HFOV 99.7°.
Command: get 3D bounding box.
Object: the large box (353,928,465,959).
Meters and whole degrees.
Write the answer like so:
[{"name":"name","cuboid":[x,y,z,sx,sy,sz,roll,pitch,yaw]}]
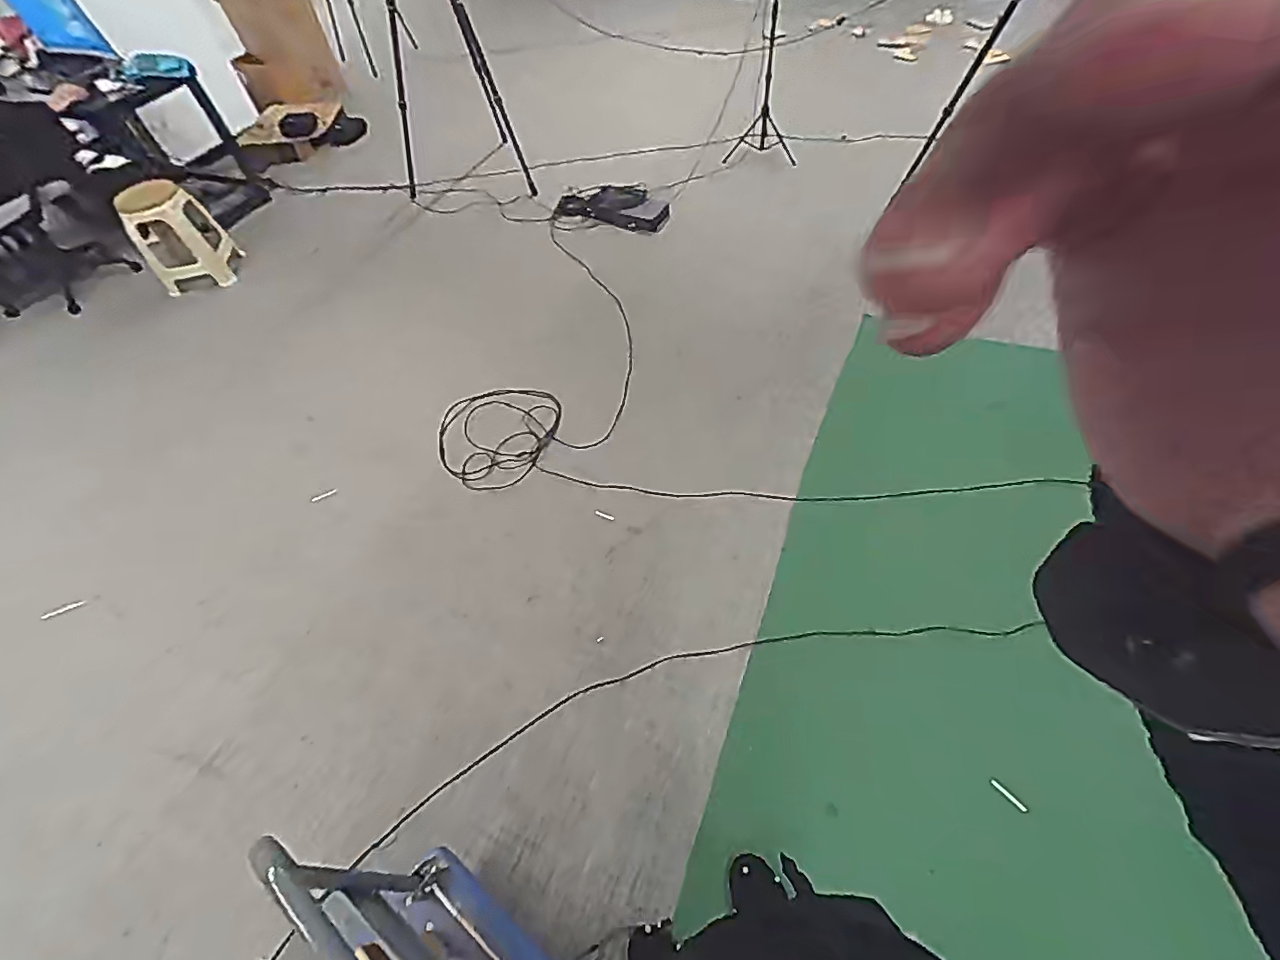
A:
[{"name":"large box","cuboid":[-0.428,1.046,0.861,0.320,0.320,0.408,29,63,24]}]
